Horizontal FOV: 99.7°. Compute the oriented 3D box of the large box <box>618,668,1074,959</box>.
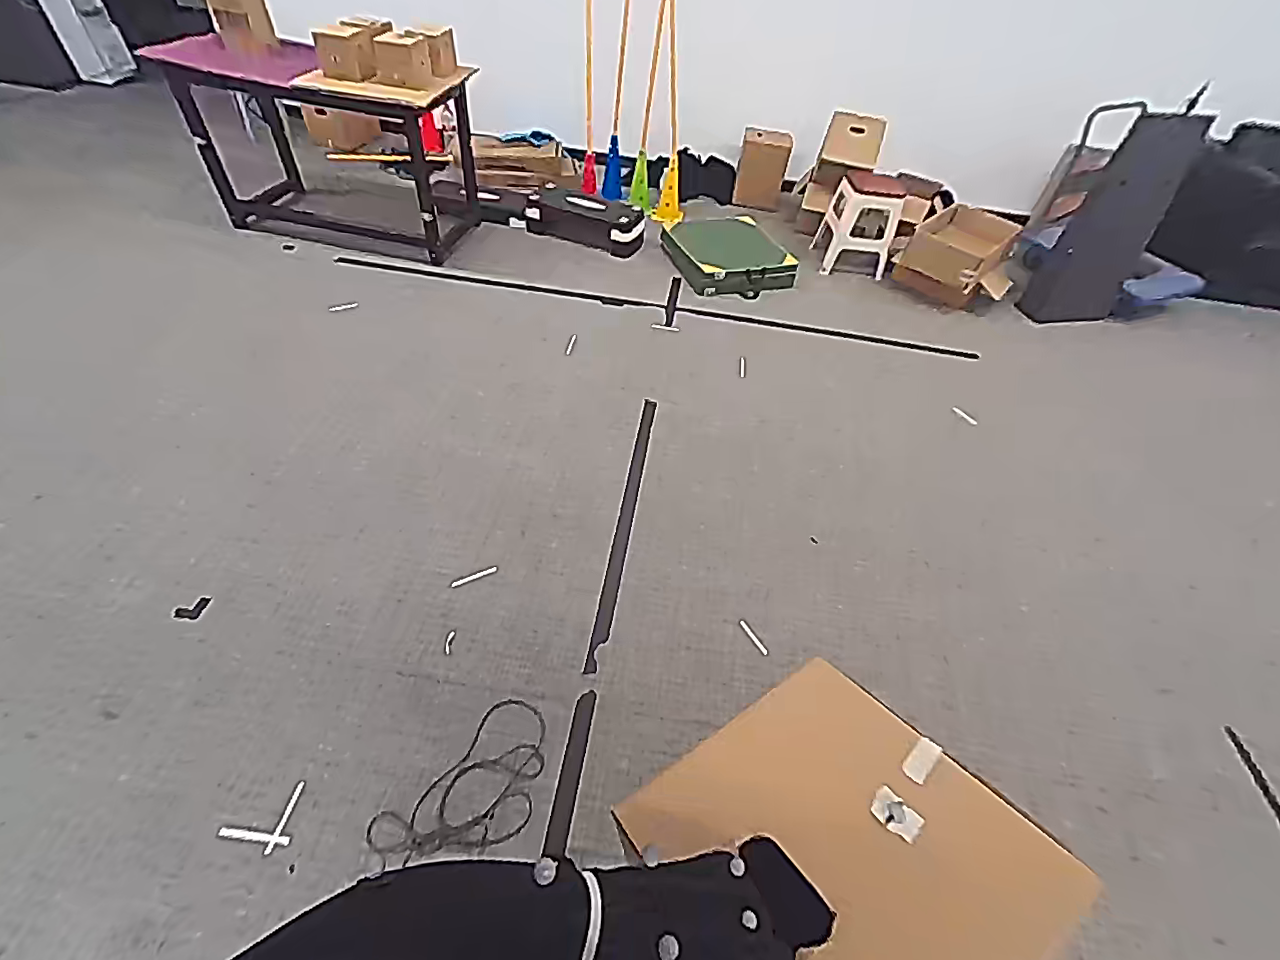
[{"bbox_3d":[0.213,0.513,0.625,0.320,0.408,0.320,-26,36,-24],"label":"large box"}]
